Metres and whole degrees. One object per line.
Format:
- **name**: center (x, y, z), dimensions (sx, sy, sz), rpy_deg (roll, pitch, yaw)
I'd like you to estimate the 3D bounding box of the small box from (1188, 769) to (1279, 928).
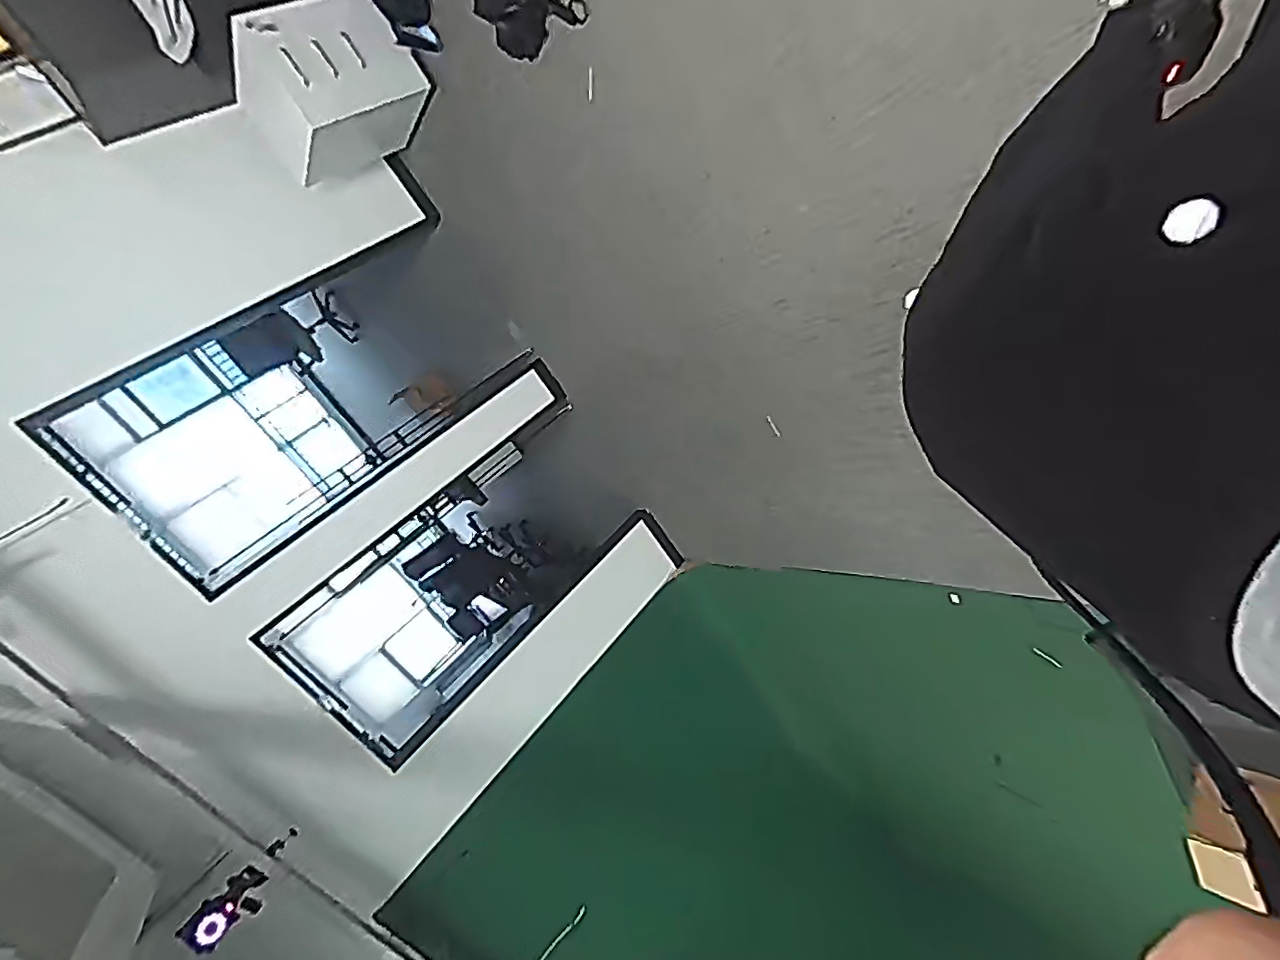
- **small box**: center (1.096, 0.647, 0.940), dimensions (0.168, 0.176, 0.179), rpy_deg (-1, 128, 57)
